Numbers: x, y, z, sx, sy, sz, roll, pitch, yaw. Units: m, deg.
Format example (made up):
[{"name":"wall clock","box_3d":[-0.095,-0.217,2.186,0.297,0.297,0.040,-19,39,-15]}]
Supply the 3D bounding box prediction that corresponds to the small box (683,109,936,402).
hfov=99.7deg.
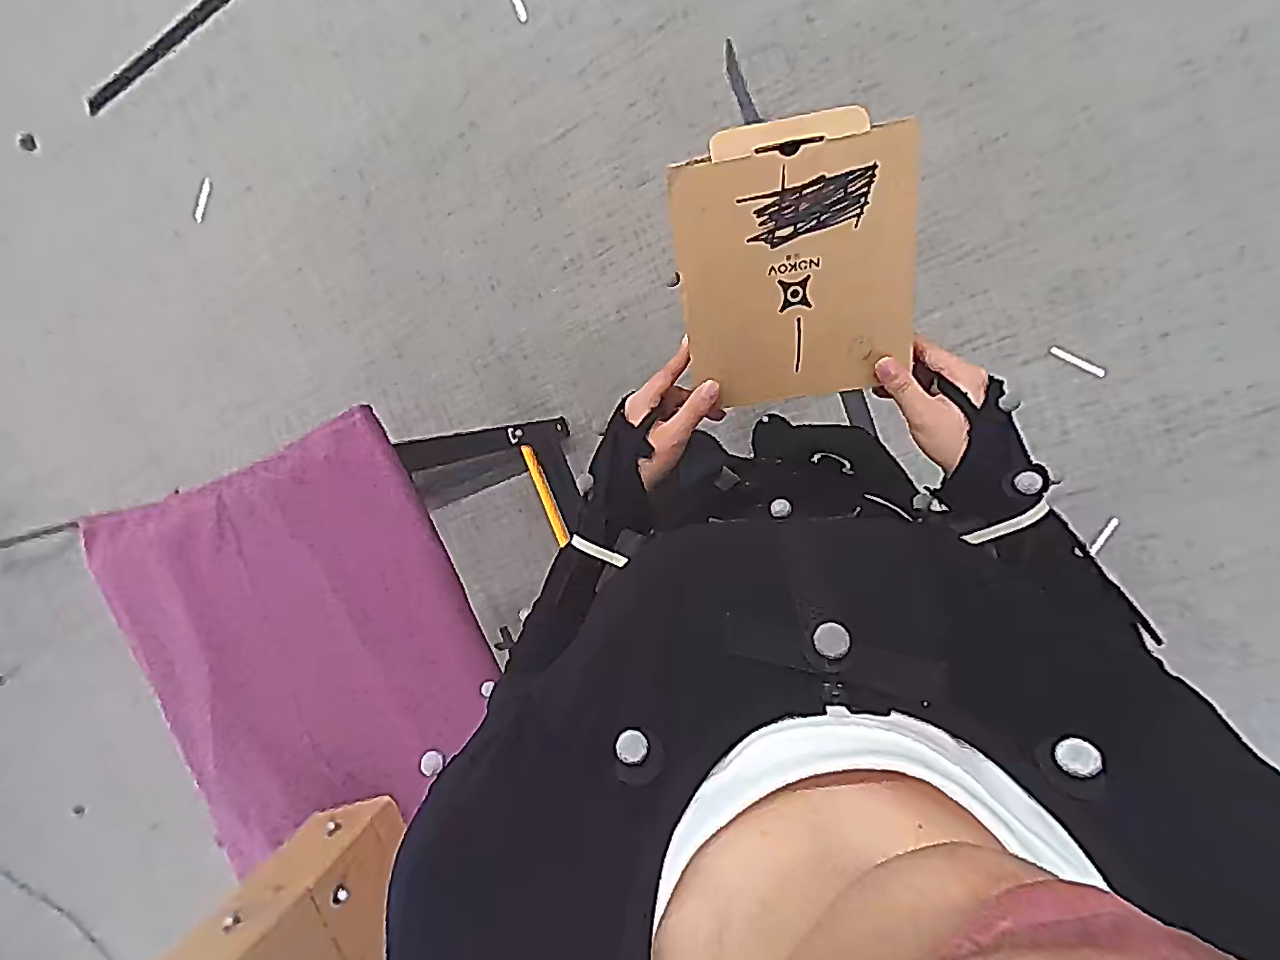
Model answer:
[{"name":"small box","box_3d":[0.125,-0.179,0.455,0.168,0.176,0.179,-6,114,8]}]

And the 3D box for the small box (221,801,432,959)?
[{"name":"small box","box_3d":[-0.435,0.608,0.778,0.168,0.176,0.179,-21,93,16]}]
